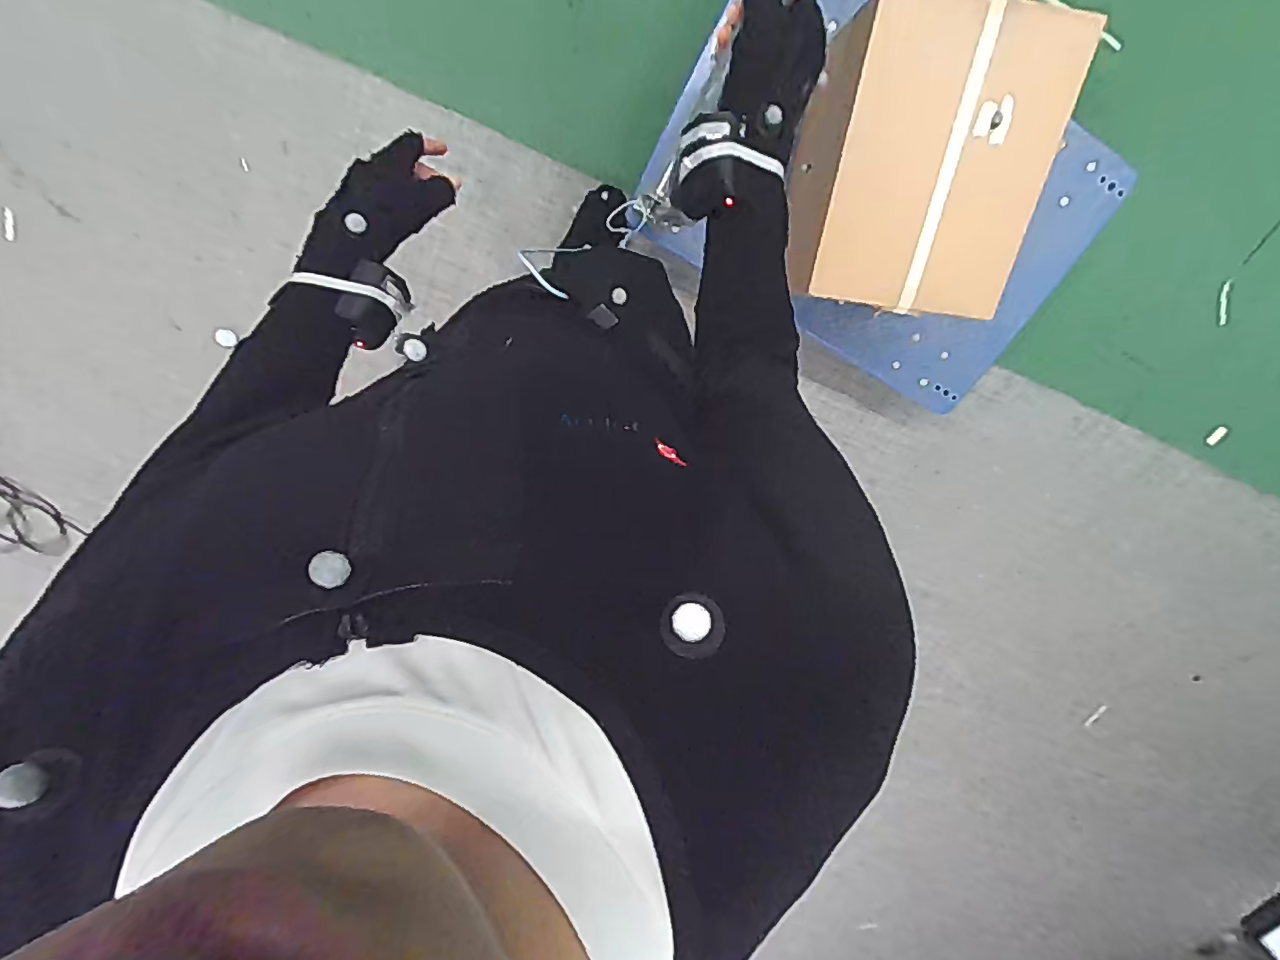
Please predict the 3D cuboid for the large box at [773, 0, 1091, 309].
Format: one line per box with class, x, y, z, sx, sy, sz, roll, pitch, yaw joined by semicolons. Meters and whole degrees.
large box;0.446;-0.534;0.943;0.320;0.320;0.408;7;113;-2
